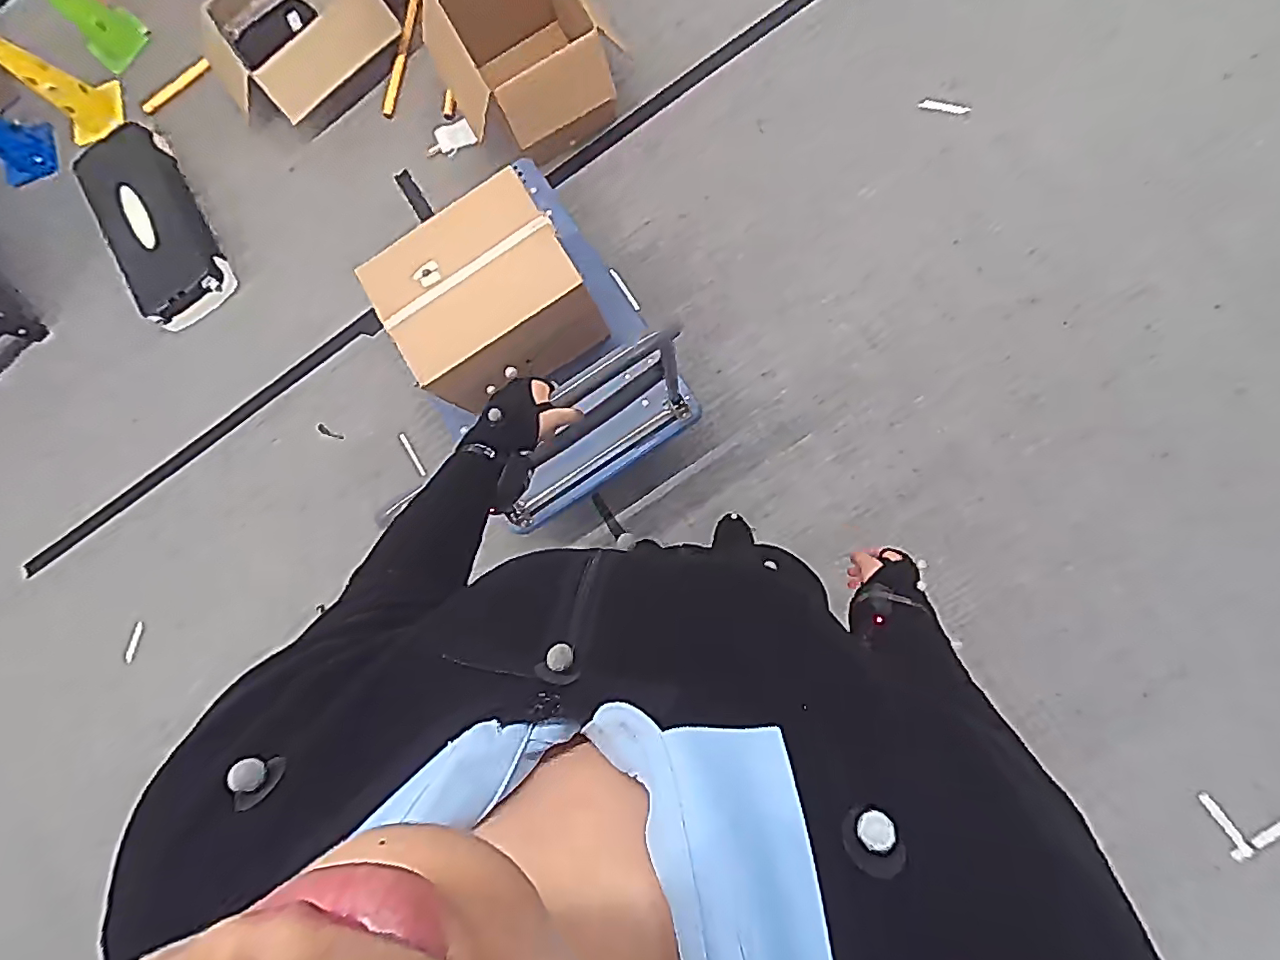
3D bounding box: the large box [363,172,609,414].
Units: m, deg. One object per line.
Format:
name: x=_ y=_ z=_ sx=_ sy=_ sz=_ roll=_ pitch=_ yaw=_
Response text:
large box: x=-0.339 y=-0.412 z=1.285 sx=0.408 sy=0.320 sz=0.320 roll=-32 pitch=81 yaw=4
